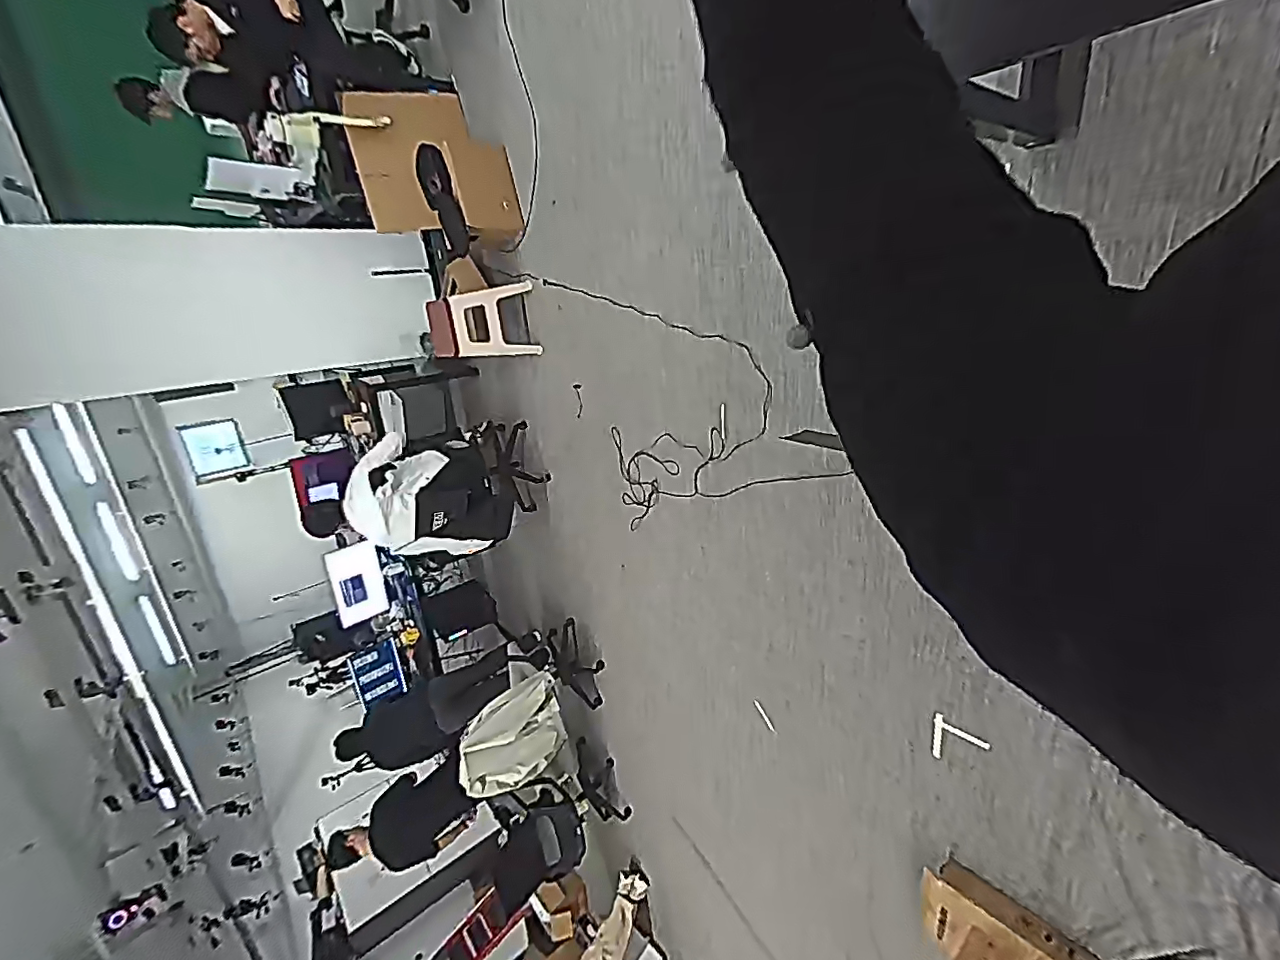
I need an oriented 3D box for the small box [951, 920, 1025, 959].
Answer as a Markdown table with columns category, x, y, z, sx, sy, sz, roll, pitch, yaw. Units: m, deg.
| category | x | y | z | sx | sy | sz | roll | pitch | yaw |
| --- | --- | --- | --- | --- | --- | --- | --- | --- | --- |
| small box | 1.062 | 1.512 | 1.647 | 0.168 | 0.176 | 0.179 | 18 | 120 | 49 |
